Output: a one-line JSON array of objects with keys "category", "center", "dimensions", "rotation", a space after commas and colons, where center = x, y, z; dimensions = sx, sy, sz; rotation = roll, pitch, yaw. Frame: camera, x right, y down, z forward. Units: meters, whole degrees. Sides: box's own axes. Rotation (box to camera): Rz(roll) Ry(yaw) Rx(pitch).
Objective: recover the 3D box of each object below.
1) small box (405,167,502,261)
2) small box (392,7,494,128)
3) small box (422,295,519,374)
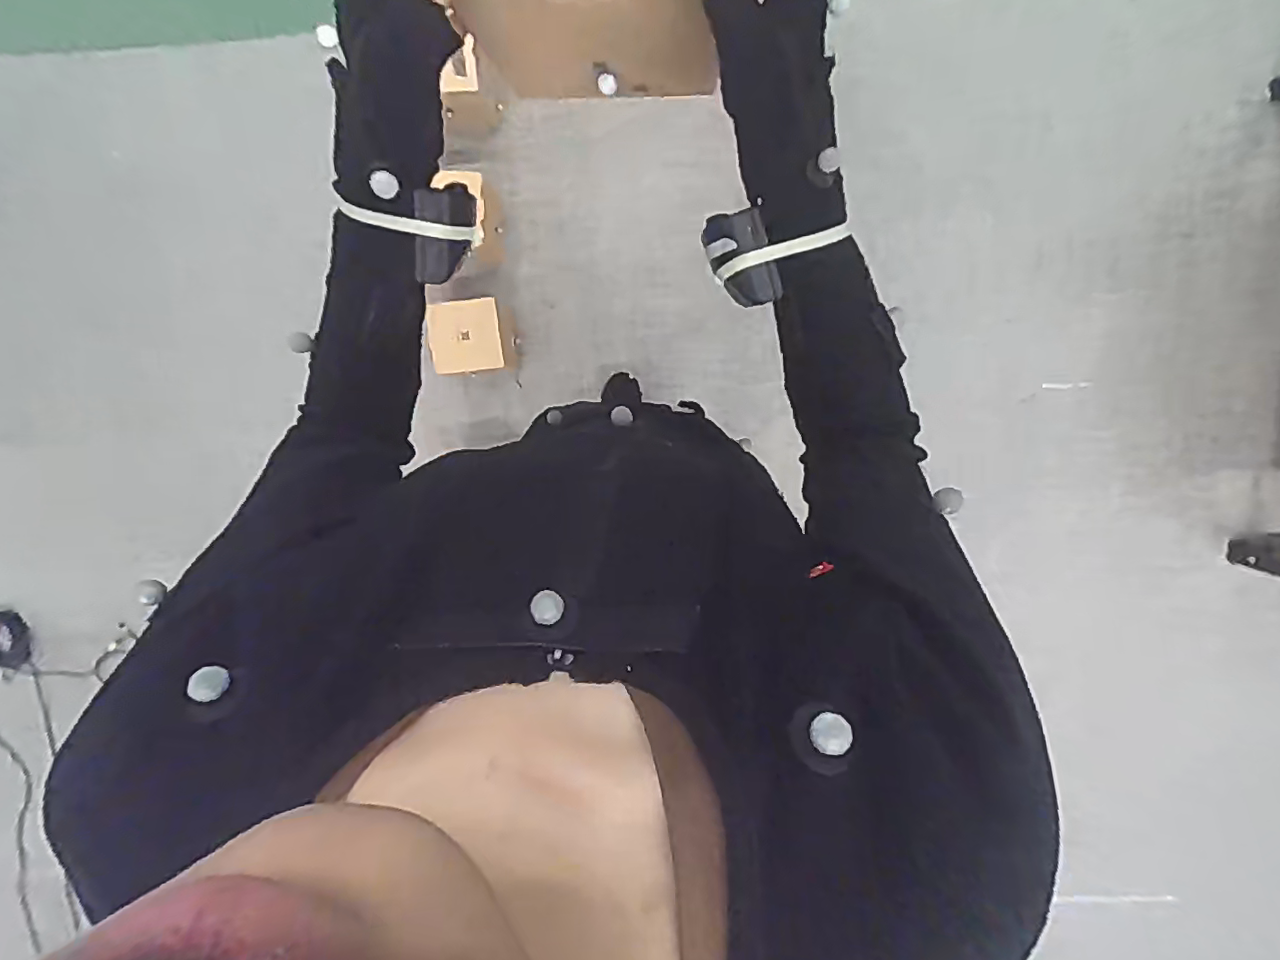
[{"category": "small box", "center": [-0.448, -0.640, 1.316], "dimensions": [0.179, 0.176, 0.168], "rotation": [3, 99, 2]}, {"category": "small box", "center": [-0.449, -0.955, 1.265], "dimensions": [0.179, 0.176, 0.168], "rotation": [-2, 99, 4]}, {"category": "small box", "center": [-0.418, -0.359, 1.359], "dimensions": [0.179, 0.176, 0.168], "rotation": [-6, 101, 2]}]
